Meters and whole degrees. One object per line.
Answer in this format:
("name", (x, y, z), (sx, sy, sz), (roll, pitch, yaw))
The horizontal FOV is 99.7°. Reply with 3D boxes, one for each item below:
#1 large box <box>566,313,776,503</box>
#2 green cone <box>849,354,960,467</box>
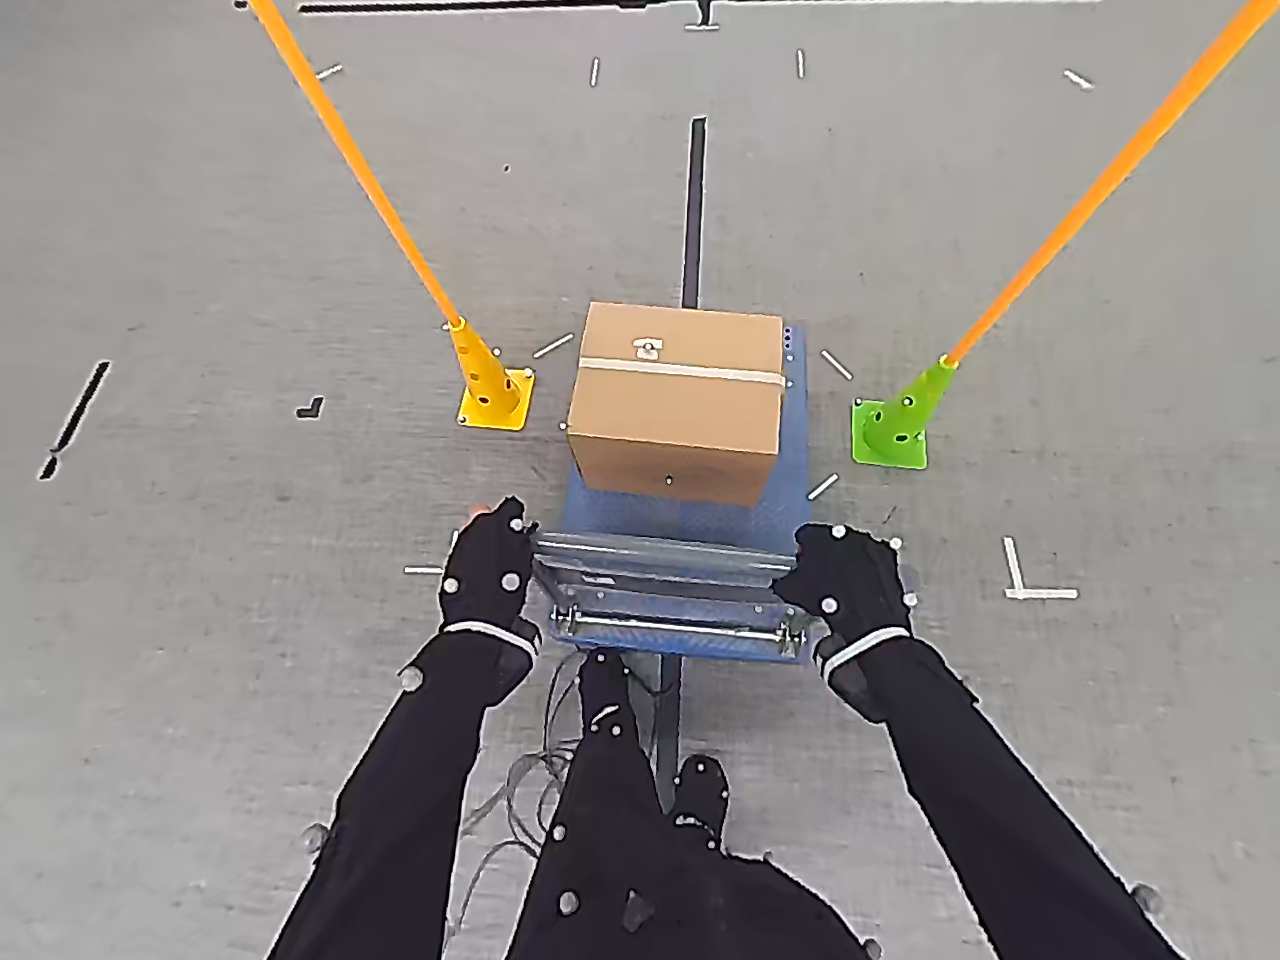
("large box", (0.079, -0.148, 1.223), (0.408, 0.320, 0.320), (6, 69, 6))
("green cone", (0.689, -0.196, 1.366), (0.202, 0.368, 0.200), (6, 70, 4))
